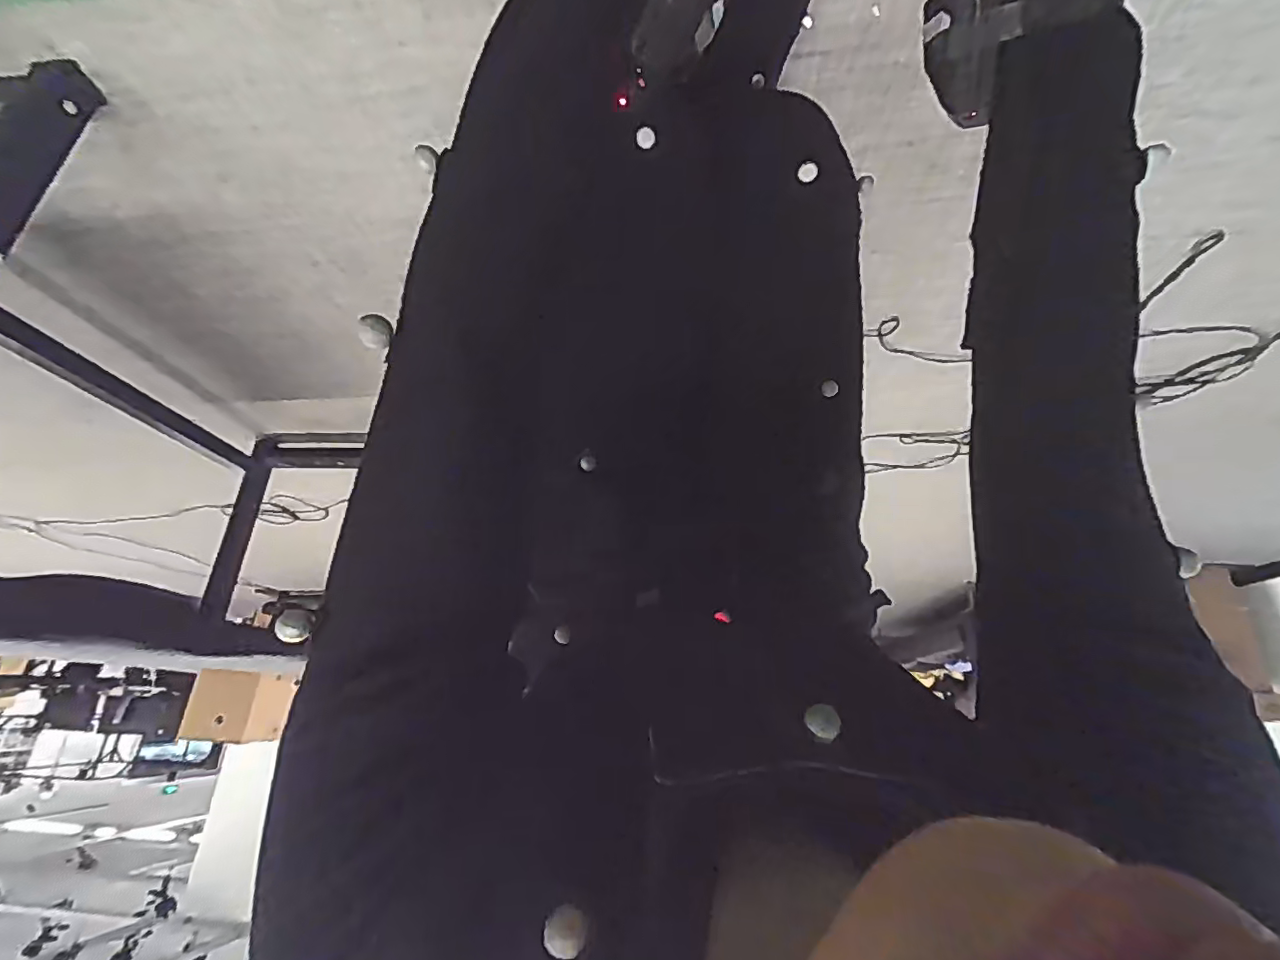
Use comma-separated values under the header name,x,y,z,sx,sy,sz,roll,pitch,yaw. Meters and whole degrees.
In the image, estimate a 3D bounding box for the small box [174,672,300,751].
name,x,y,z,sx,sy,sz,roll,pitch,yaw
small box,-0.982,0.569,1.340,0.179,0.176,0.168,-1,156,8
